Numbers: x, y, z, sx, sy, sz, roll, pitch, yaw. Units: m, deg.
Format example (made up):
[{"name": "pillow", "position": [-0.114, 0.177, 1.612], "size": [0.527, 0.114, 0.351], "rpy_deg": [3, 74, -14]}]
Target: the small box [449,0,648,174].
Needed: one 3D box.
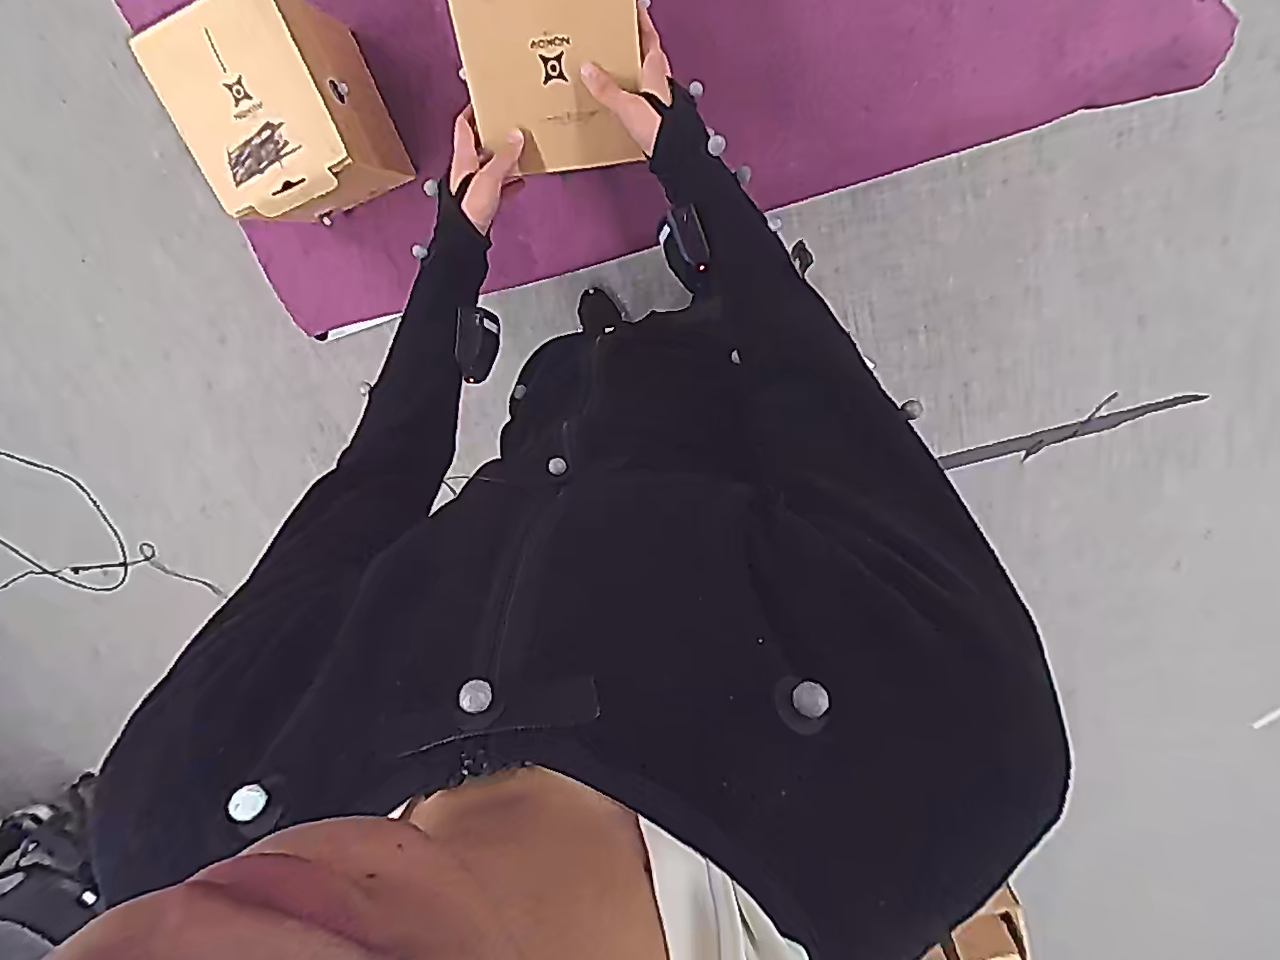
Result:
[{"name": "small box", "position": [-0.083, -0.428, 0.558], "size": [0.168, 0.176, 0.179], "rpy_deg": [-5, 124, 3]}]

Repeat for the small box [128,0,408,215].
[{"name": "small box", "position": [-0.410, -0.430, 0.636], "size": [0.168, 0.176, 0.179], "rpy_deg": [-18, 111, 10]}]
